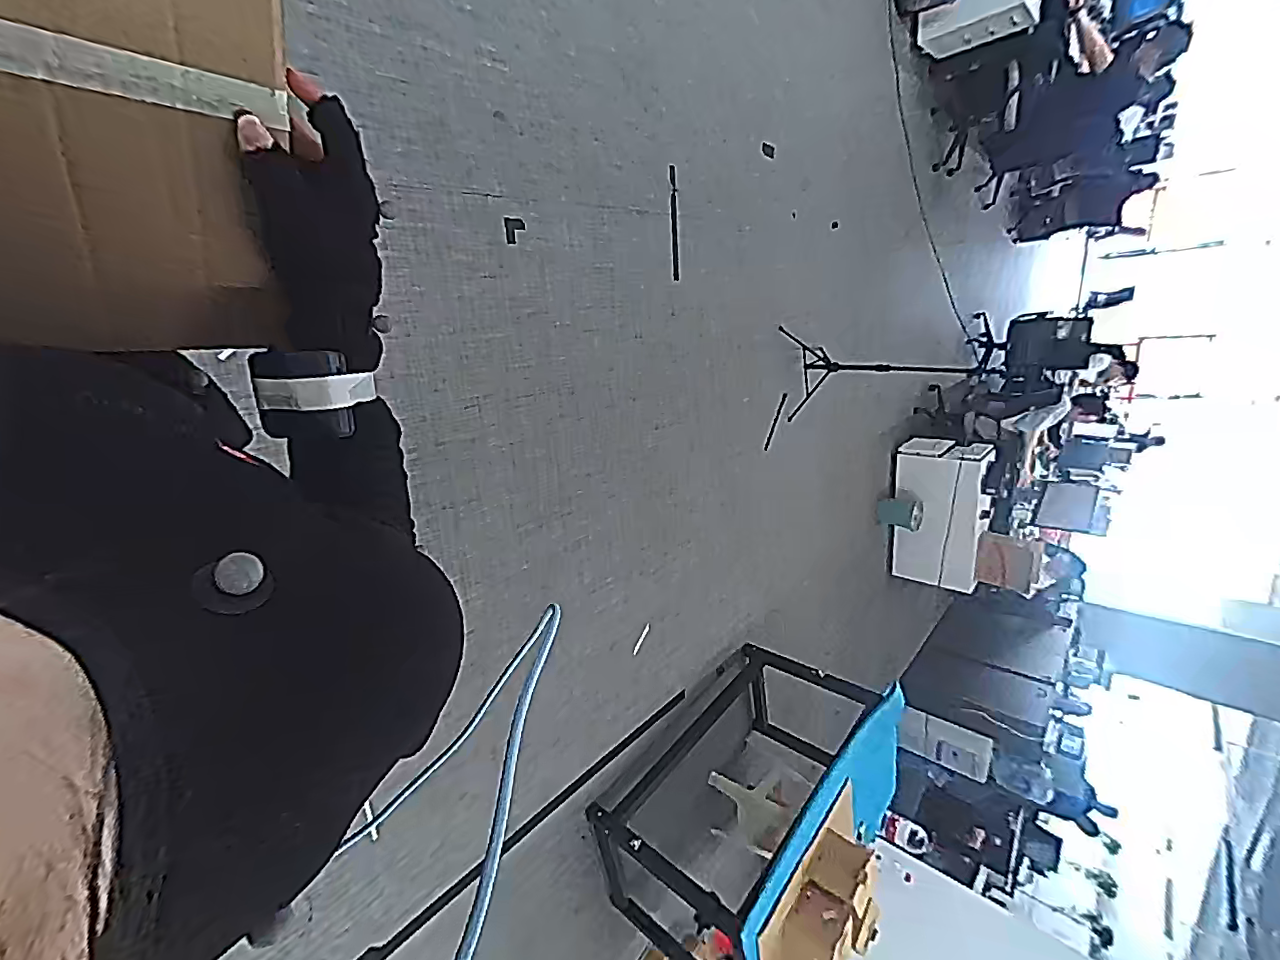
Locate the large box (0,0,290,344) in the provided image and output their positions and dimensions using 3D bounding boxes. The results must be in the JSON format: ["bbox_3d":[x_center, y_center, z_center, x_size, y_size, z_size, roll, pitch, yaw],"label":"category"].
[{"bbox_3d":[-0.455,-0.277,0.268,0.408,0.320,0.320,-15,141,-41],"label":"large box"}]
